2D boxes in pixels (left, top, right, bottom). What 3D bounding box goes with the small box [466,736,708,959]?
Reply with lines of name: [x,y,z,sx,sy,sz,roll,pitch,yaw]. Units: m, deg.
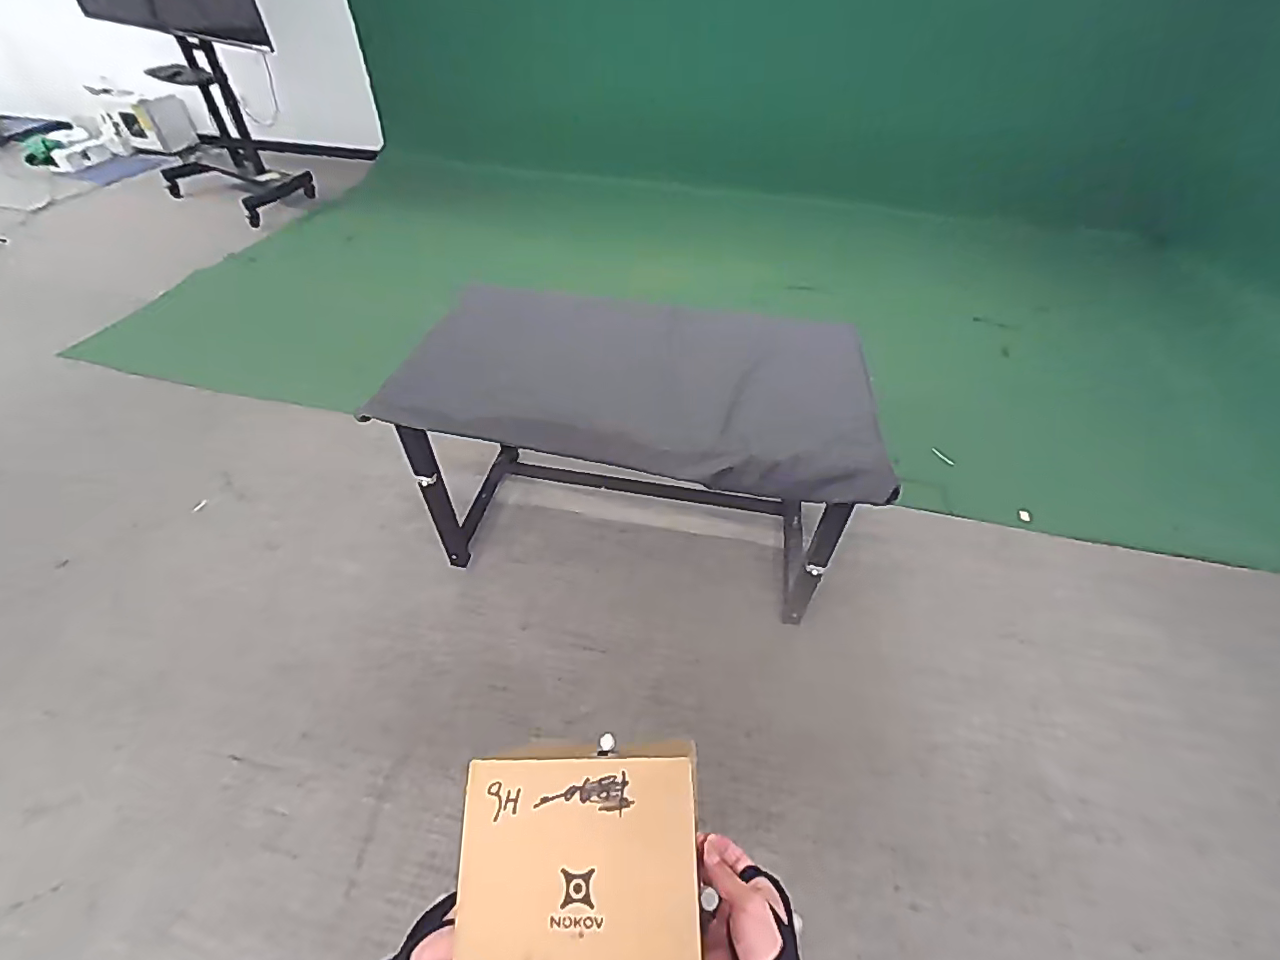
small box: [-0.029,0.319,0.446,0.168,0.176,0.179,-2,70,4]
